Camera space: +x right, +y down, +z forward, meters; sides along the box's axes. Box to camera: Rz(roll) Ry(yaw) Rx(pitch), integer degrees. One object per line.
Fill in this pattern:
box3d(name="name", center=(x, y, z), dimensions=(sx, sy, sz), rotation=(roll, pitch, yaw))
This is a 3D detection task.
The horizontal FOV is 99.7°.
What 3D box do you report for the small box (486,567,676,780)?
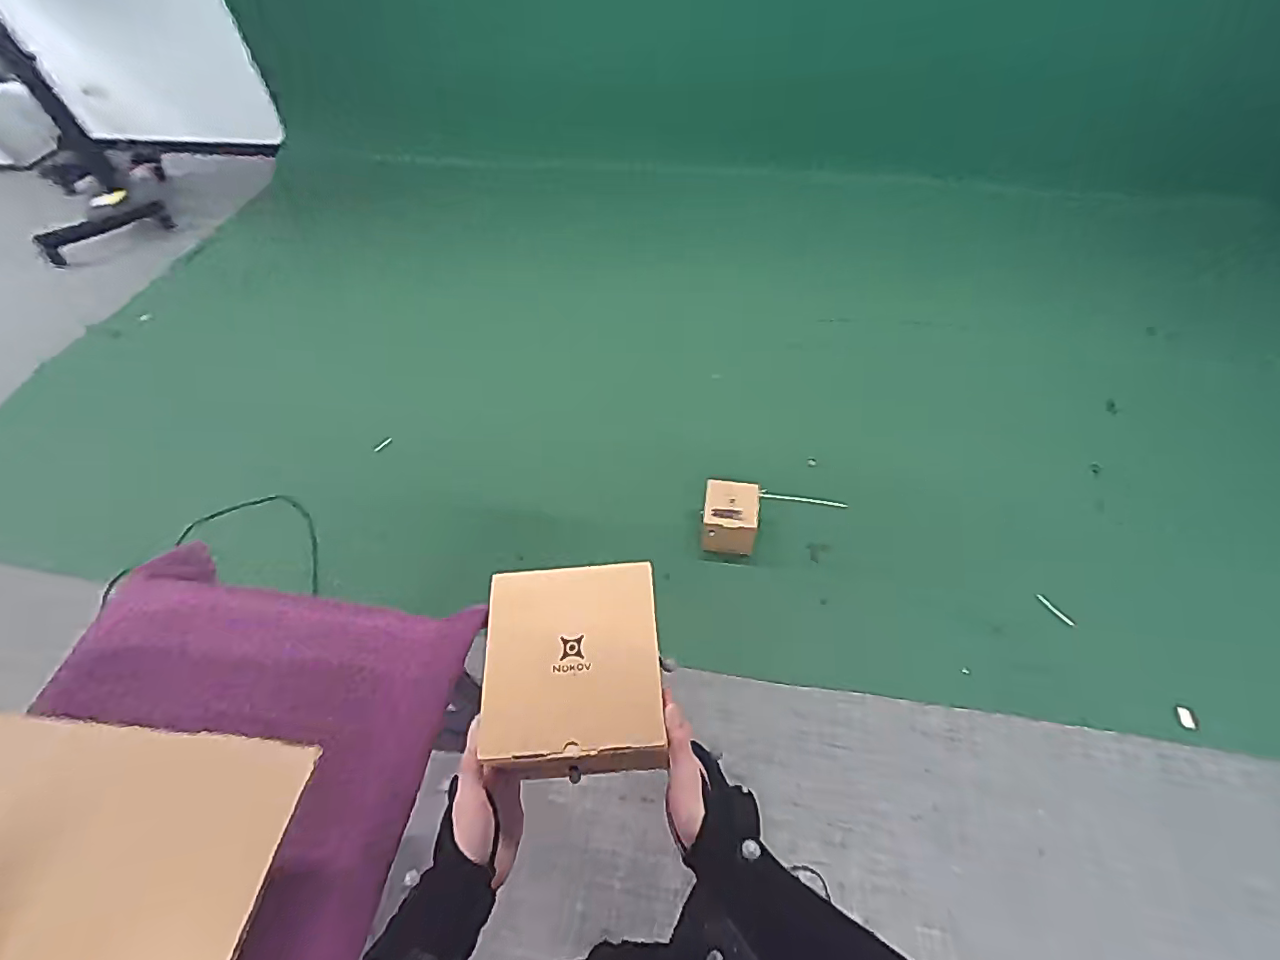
box3d(name="small box", center=(-0.053, 0.208, 0.572), dimensions=(0.168, 0.176, 0.179), rotation=(-4, 58, 0))
